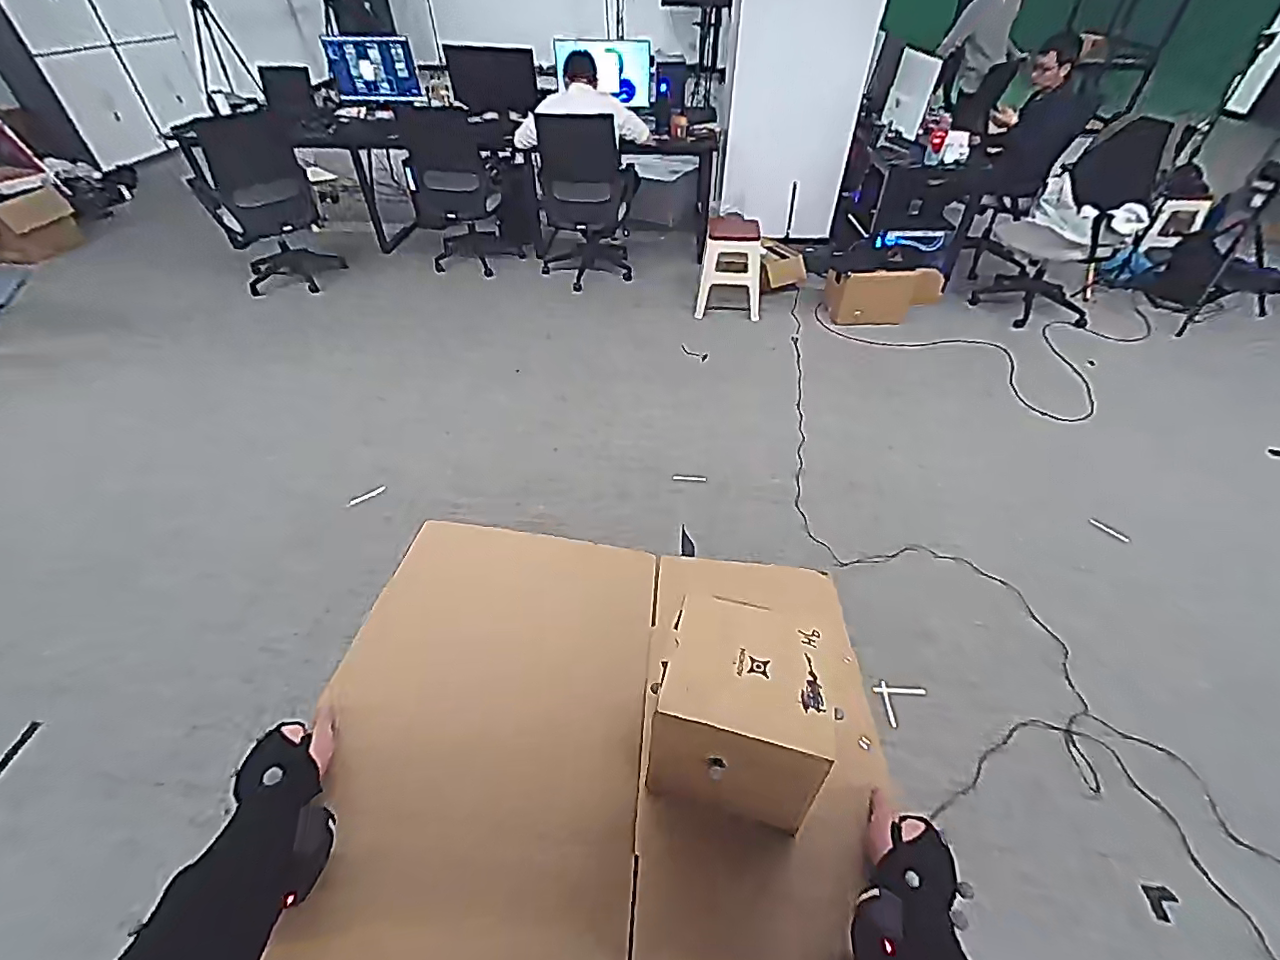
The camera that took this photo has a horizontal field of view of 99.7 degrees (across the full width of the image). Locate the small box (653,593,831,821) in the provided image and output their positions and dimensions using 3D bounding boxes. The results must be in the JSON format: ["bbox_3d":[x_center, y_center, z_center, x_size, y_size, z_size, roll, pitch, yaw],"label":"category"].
[{"bbox_3d":[0.117,0.264,0.635,0.179,0.176,0.168,10,37,11],"label":"small box"}]
